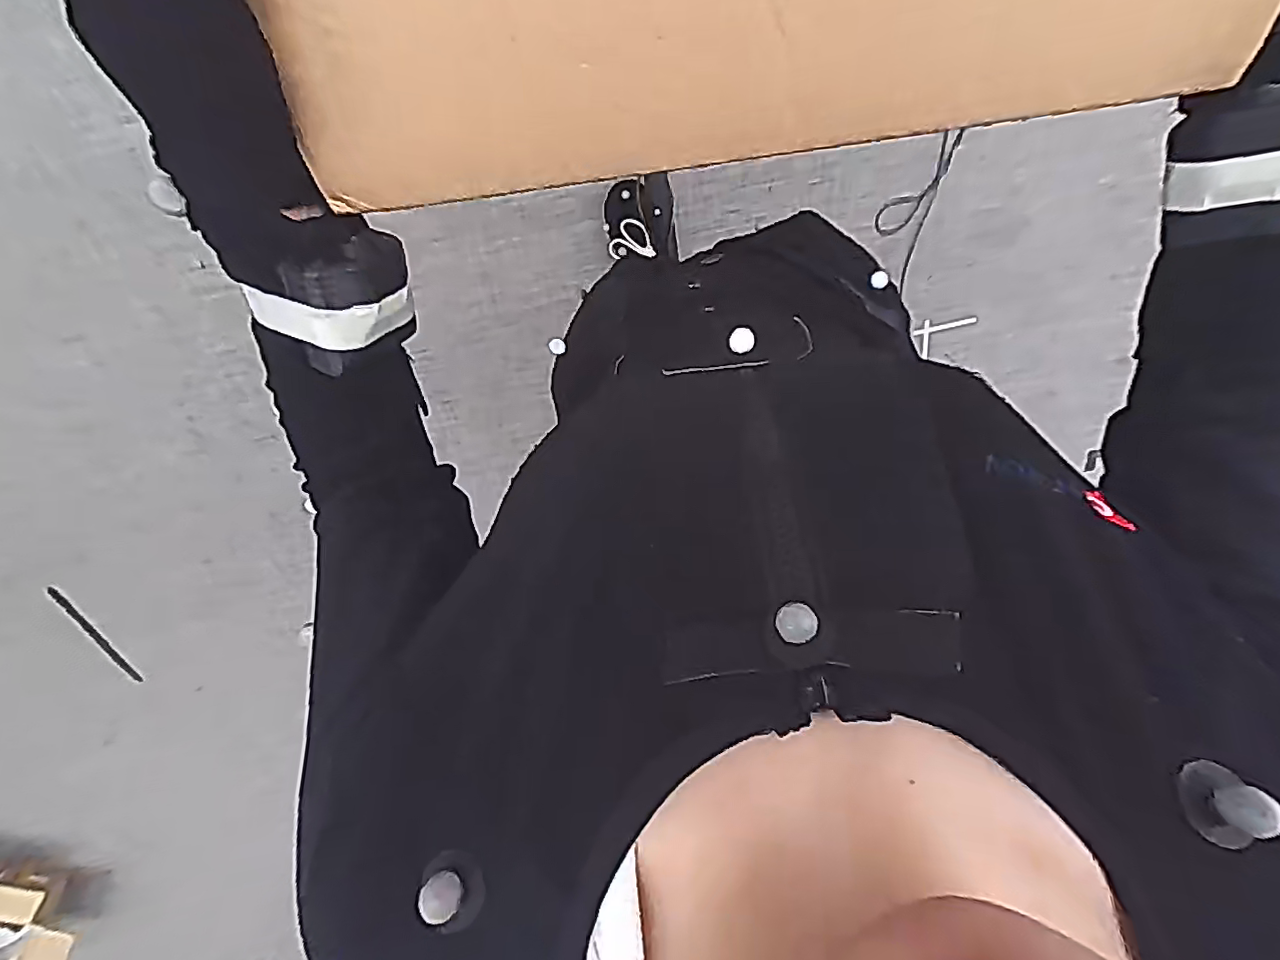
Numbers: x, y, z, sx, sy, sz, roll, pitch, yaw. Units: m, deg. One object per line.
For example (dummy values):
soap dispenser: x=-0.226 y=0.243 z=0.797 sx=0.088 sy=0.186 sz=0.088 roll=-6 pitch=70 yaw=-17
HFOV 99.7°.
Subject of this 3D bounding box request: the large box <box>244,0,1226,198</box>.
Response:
large box: x=0.028 y=-0.371 z=0.243 sx=0.408 sy=0.320 sz=0.320 roll=-7 pitch=136 yaw=2
